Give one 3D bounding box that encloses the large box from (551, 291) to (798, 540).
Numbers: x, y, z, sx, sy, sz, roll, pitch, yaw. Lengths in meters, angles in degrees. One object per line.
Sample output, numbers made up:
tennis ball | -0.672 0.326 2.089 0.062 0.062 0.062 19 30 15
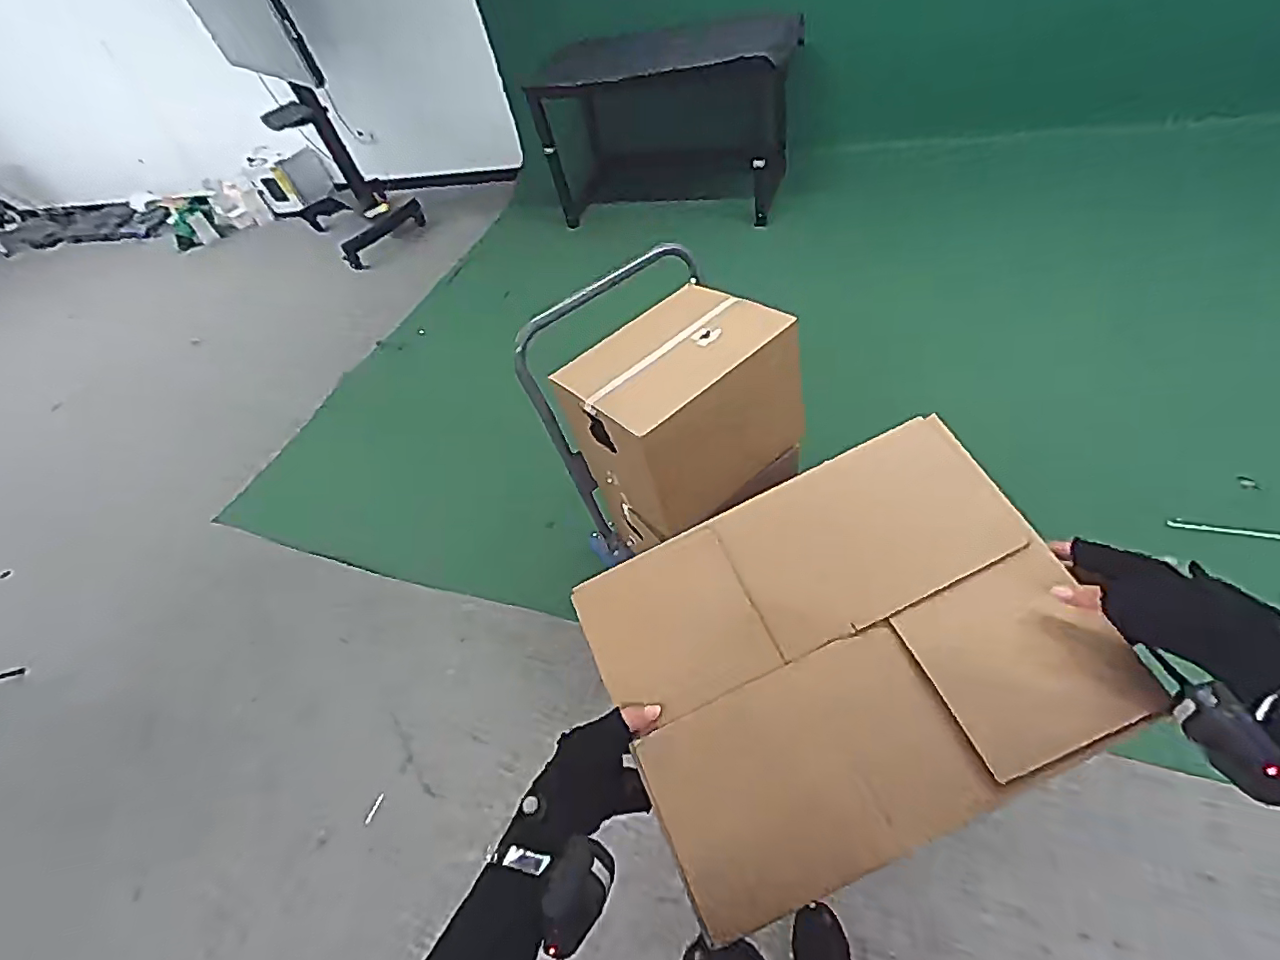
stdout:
large box | 0.089 -0.149 1.174 0.408 0.320 0.320 -37 47 -18
